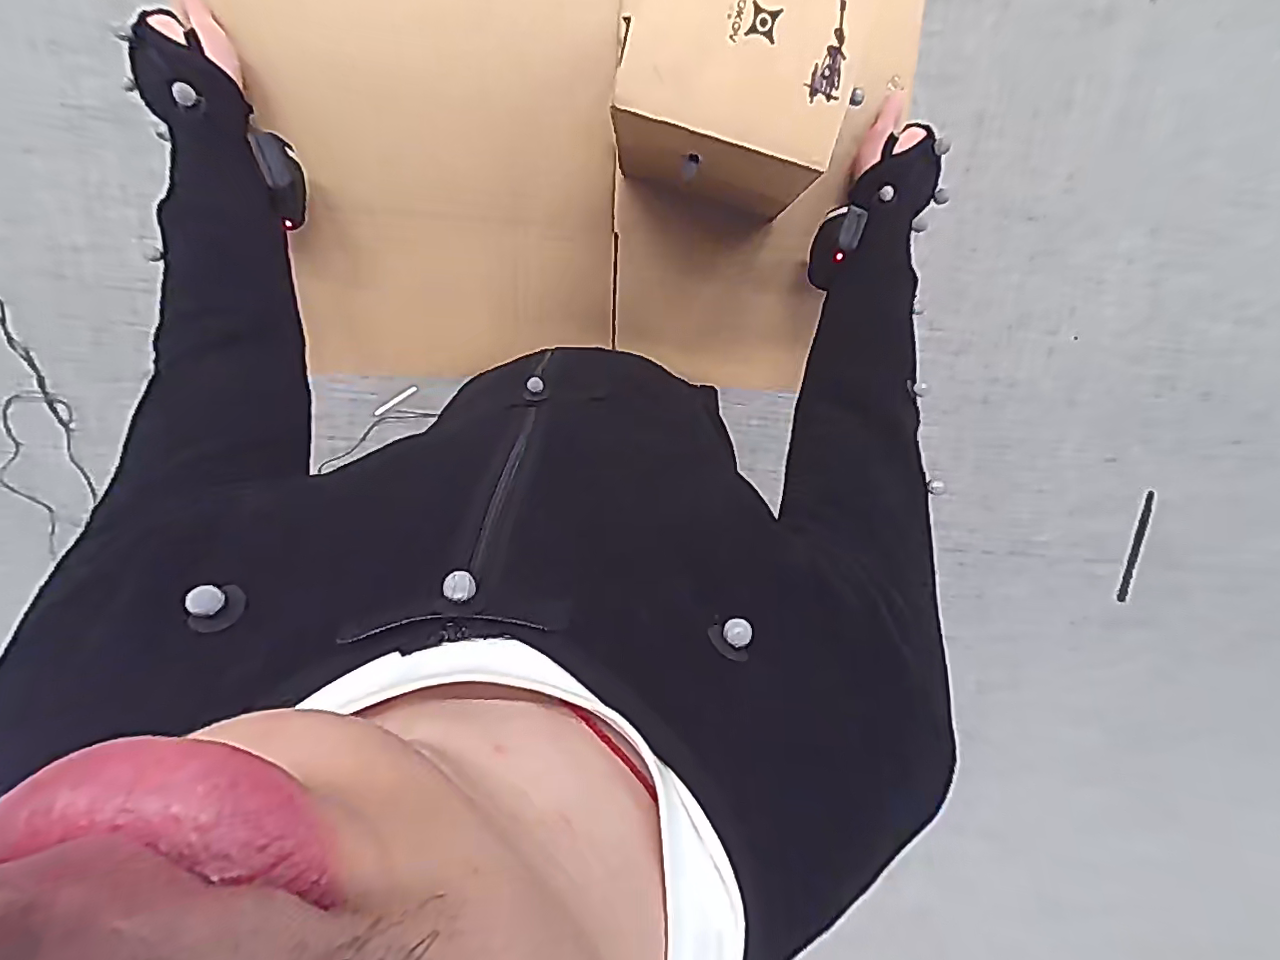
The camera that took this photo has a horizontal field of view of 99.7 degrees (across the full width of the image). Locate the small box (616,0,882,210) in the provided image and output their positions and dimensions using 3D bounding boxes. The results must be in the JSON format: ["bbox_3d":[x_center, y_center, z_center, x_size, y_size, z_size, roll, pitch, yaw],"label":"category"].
[{"bbox_3d":[0.088,-0.361,0.479,0.179,0.176,0.168,15,104,-2],"label":"small box"}]
